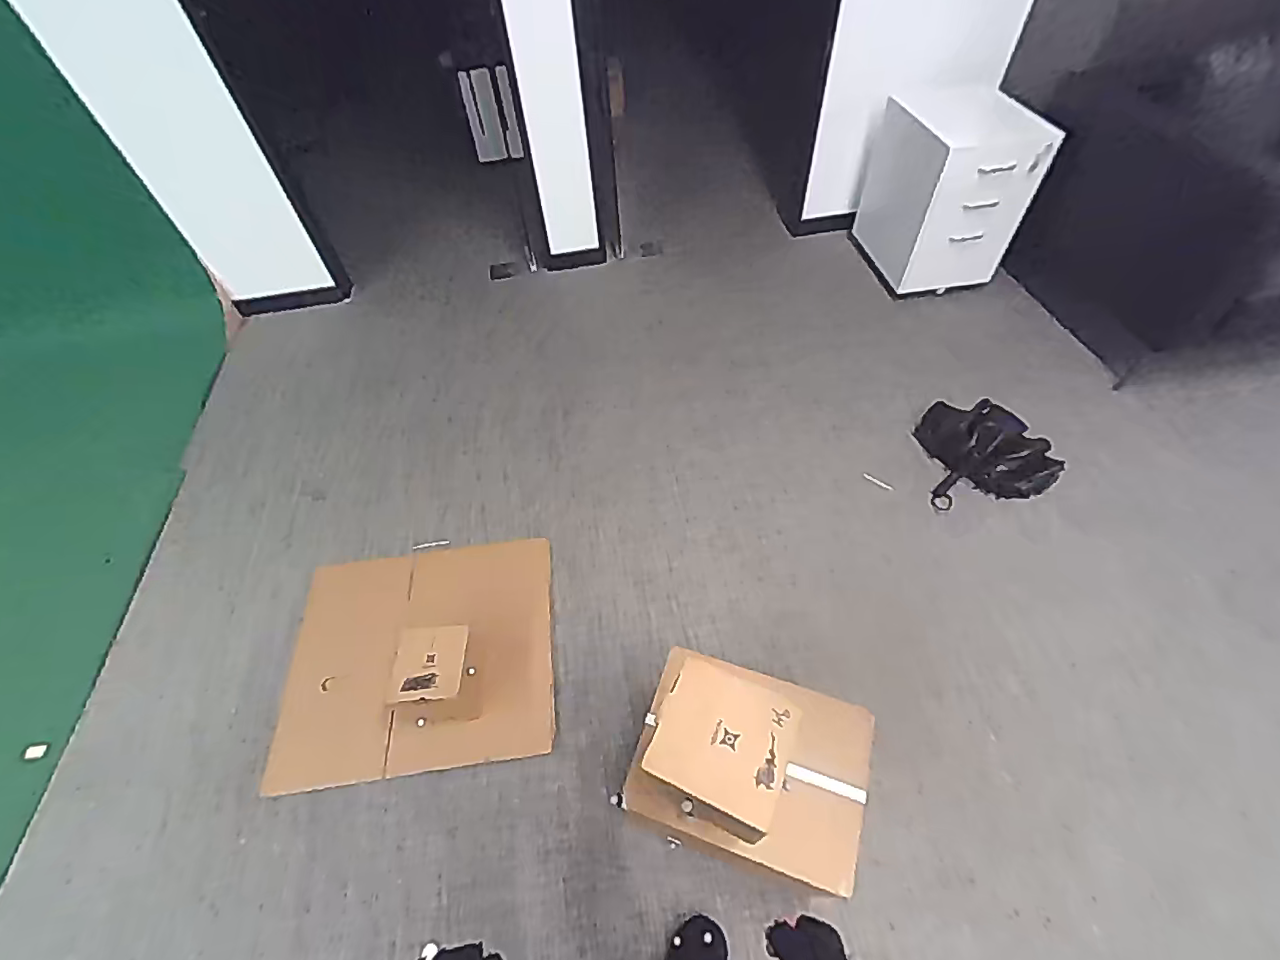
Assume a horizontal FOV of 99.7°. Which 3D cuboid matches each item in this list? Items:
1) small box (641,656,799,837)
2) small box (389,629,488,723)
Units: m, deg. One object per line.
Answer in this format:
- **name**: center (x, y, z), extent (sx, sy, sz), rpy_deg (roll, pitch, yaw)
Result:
- **small box**: center (0.114, 0.390, 0.785), extent (0.179, 0.176, 0.168), rpy_deg (16, 53, 16)
- **small box**: center (-0.482, 0.484, 1.323), extent (0.168, 0.176, 0.179), rpy_deg (-4, 50, 1)
